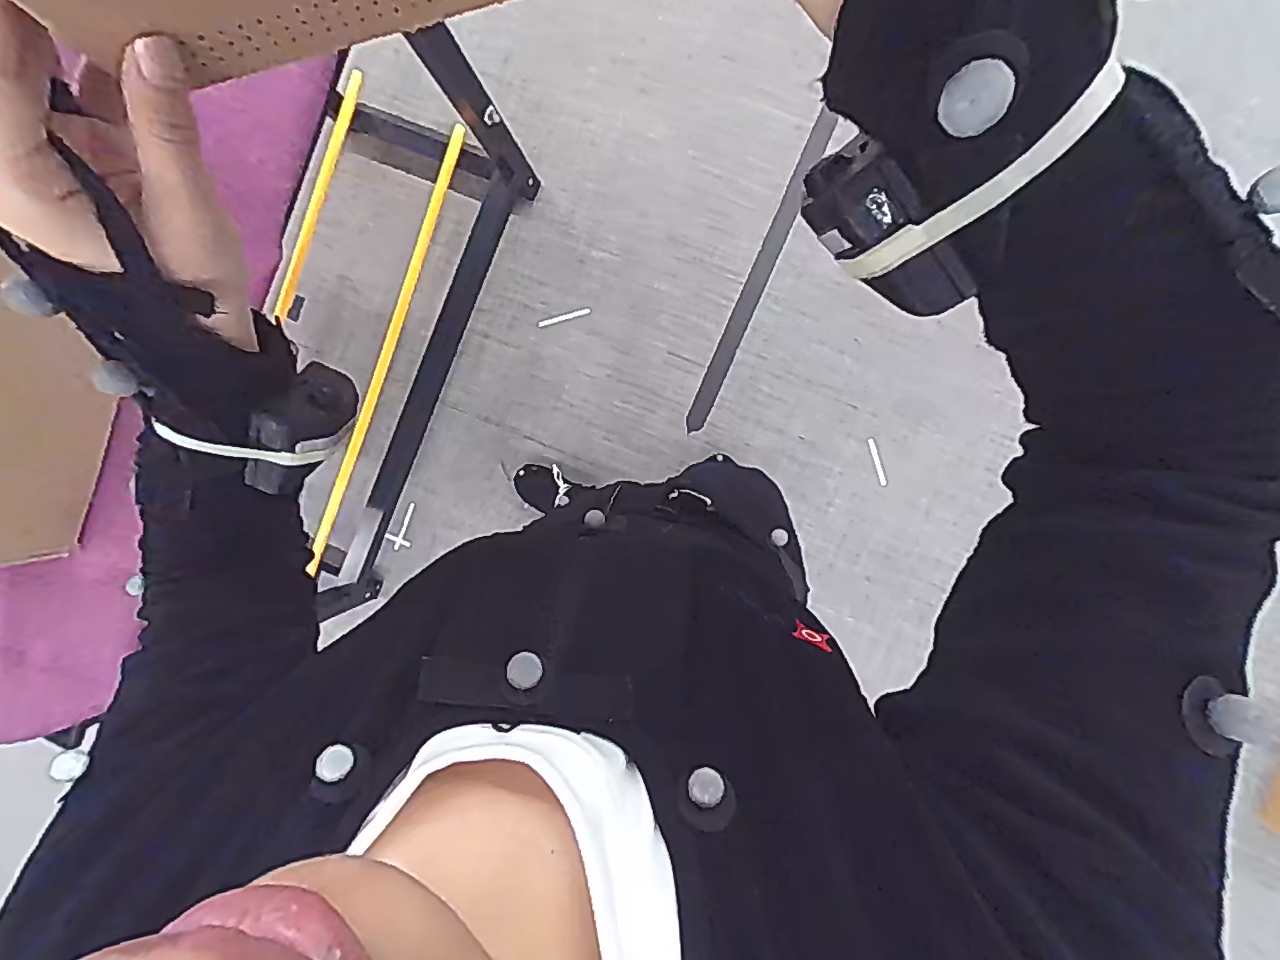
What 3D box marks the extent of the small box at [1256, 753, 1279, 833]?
[{"bbox_3d":[1.532,0.739,1.180,0.168,0.176,0.179,19,93,5],"label":"small box"}]
